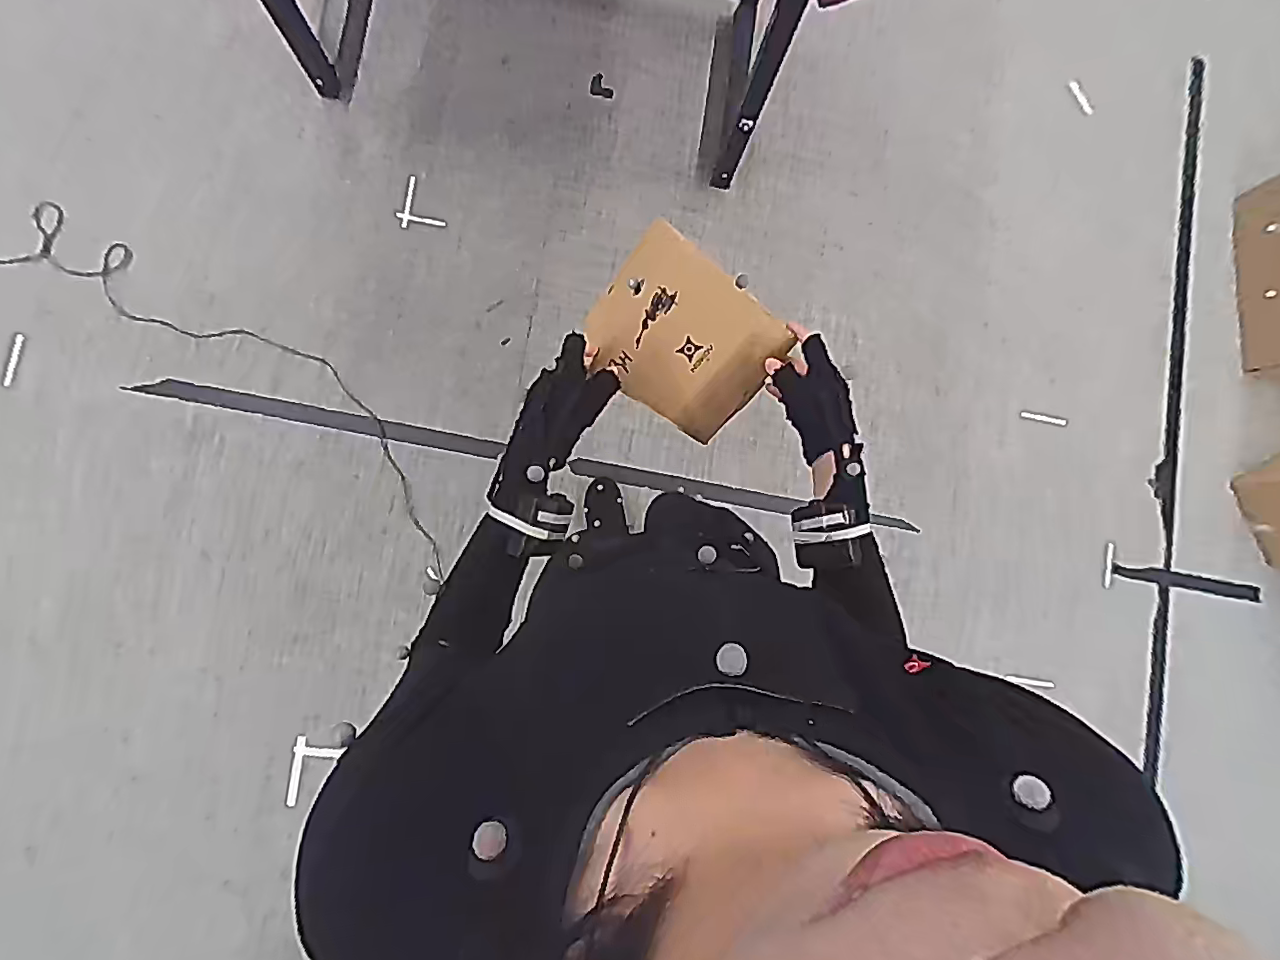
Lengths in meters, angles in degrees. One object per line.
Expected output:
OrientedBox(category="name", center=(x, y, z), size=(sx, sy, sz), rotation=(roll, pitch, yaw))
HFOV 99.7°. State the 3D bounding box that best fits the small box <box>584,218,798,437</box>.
OrientedBox(category="small box", center=(0.049, -0.188, 0.649), size=(0.179, 0.176, 0.168), rotation=(30, 114, -24))
